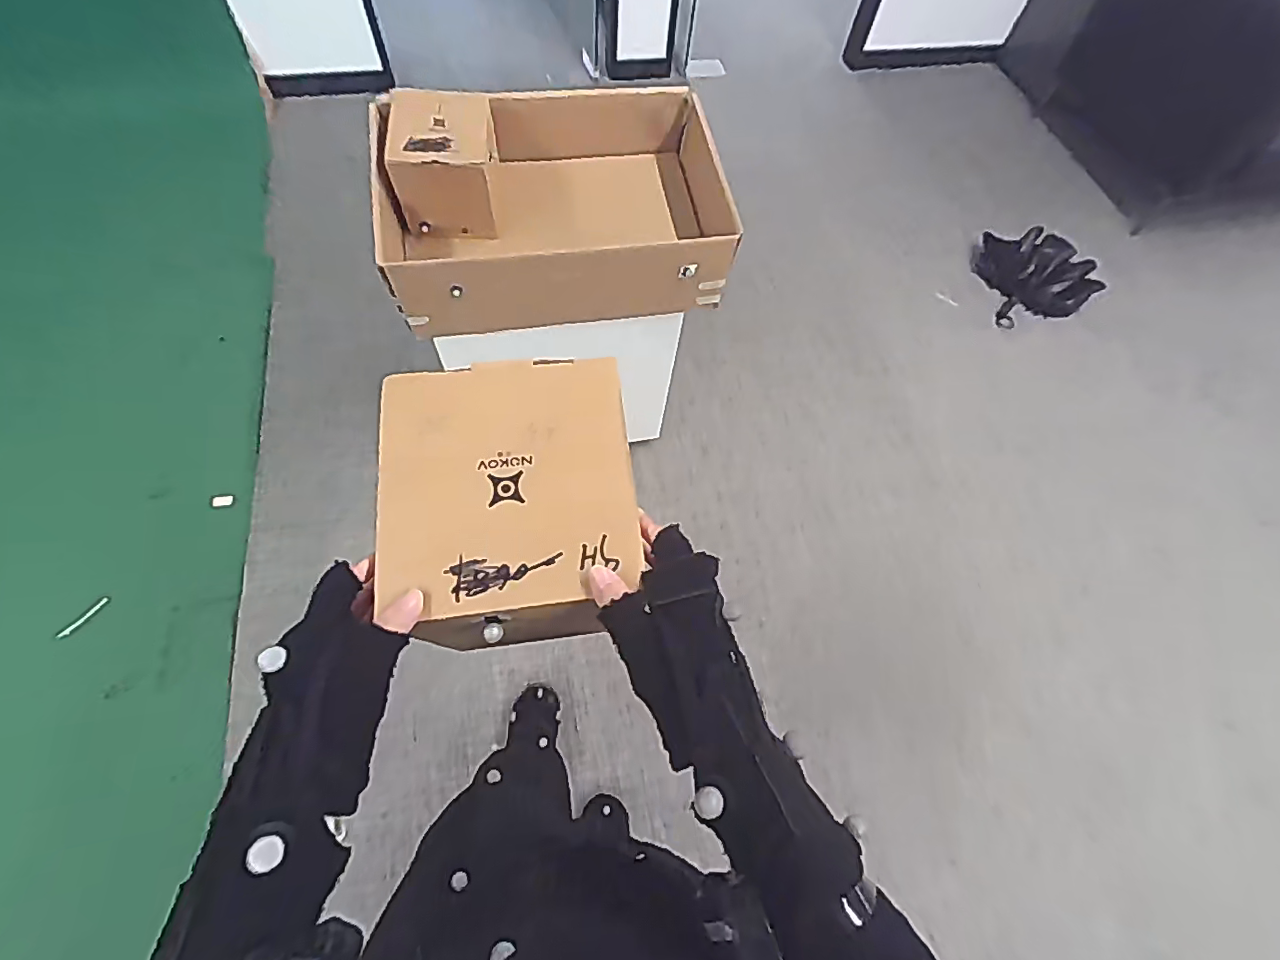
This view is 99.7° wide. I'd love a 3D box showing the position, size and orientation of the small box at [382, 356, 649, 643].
[{"bbox_3d":[-0.087,0.025,0.438,0.168,0.176,0.179,-7,68,-4],"label":"small box"}]
